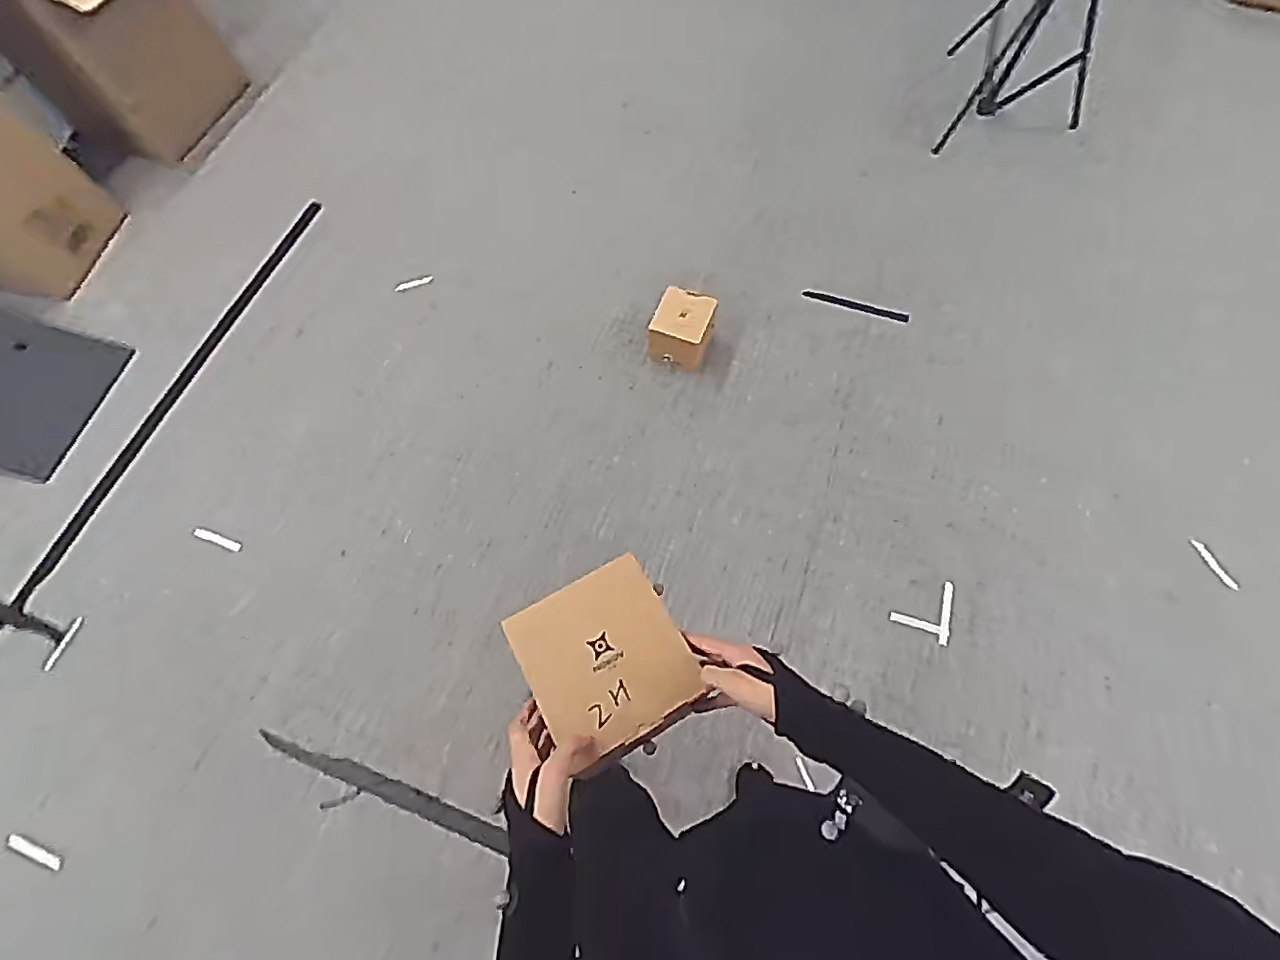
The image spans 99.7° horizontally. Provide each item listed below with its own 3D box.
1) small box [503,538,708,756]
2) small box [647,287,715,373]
[{"bbox_3d":[-0.040,0.204,0.642,0.168,0.176,0.179,-26,64,-12],"label":"small box"},{"bbox_3d":[0.126,-0.475,1.723,0.168,0.176,0.179,20,70,10],"label":"small box"}]
